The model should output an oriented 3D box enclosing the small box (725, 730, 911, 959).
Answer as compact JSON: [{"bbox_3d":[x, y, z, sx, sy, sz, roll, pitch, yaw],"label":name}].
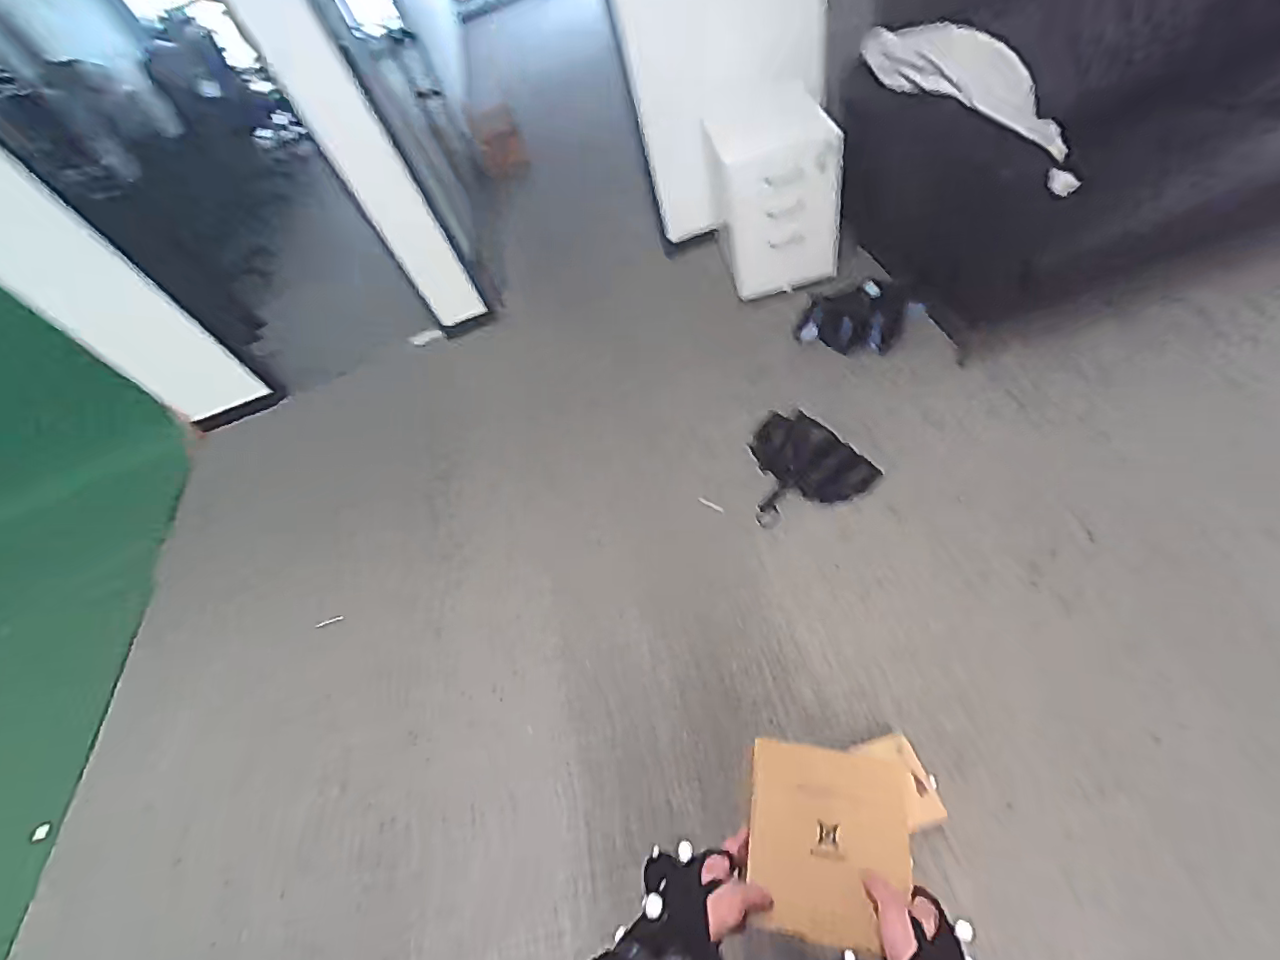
[{"bbox_3d":[0.190,0.411,0.621,0.168,0.176,0.179,6,54,8],"label":"small box"}]

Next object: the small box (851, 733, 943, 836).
[{"bbox_3d":[0.513,0.673,1.165,0.179,0.176,0.168,-20,51,3],"label":"small box"}]
